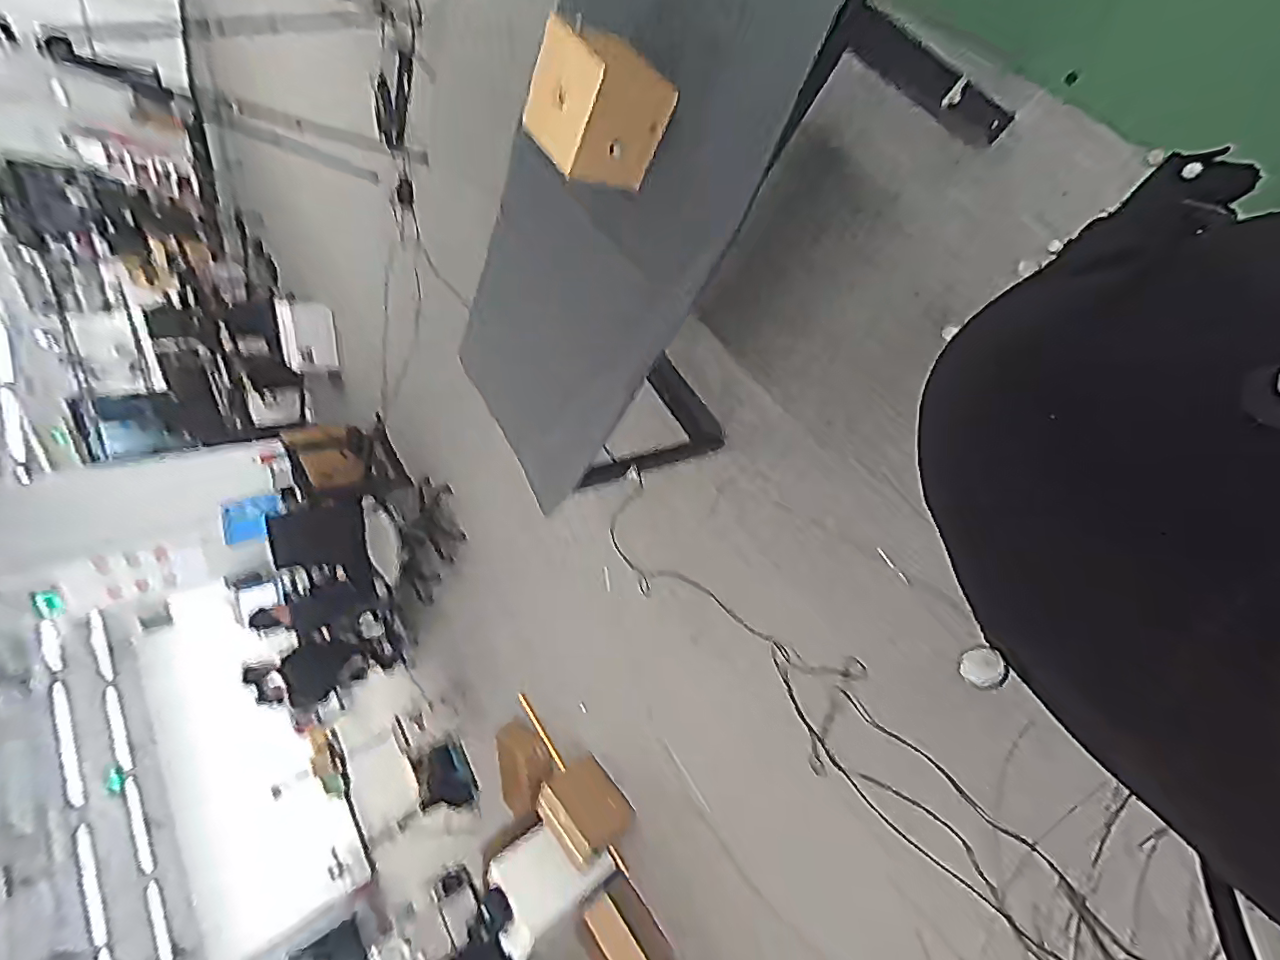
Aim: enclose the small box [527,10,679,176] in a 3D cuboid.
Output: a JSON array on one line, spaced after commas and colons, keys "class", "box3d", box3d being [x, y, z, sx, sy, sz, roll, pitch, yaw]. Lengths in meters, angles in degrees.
[{"class": "small box", "box3d": [-0.063, -0.650, 0.930, 0.179, 0.176, 0.168, 56, 137, 21]}]
